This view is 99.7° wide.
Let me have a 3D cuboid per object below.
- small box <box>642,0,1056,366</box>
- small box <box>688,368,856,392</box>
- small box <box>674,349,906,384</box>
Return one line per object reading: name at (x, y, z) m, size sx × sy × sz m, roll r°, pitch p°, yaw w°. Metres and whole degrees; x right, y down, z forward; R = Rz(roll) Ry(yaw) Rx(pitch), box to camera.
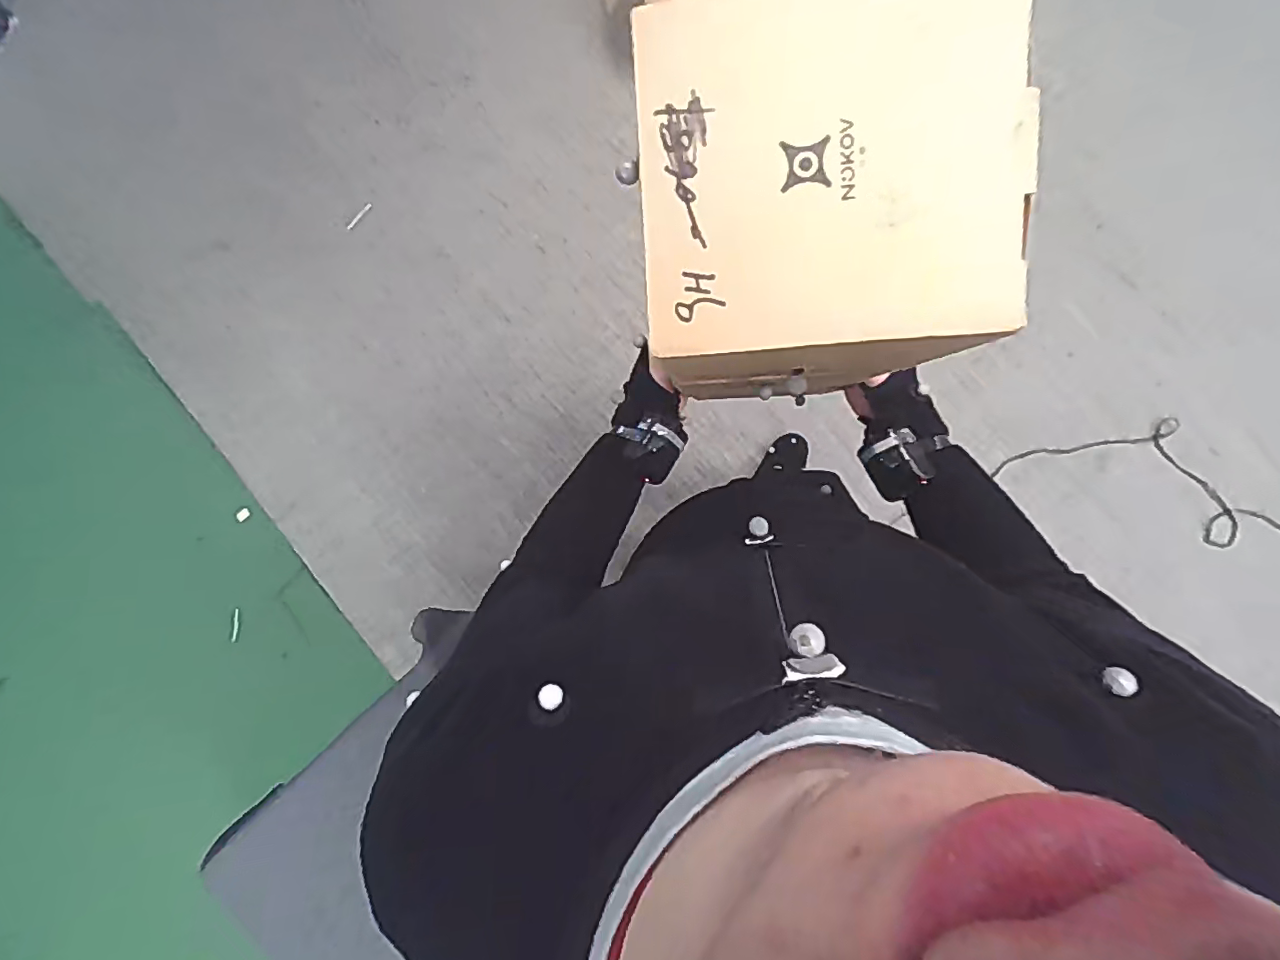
small box at (0.099, -0.161, 0.318) m, size 0.179 × 0.176 × 0.168 m, roll -2°, pitch 96°, yaw 8°
small box at (0.147, -0.194, 0.640) m, size 0.179 × 0.176 × 0.168 m, roll -2°, pitch 95°, yaw 10°
small box at (0.120, -0.178, 0.479) m, size 0.179 × 0.176 × 0.168 m, roll -3°, pitch 96°, yaw 8°
